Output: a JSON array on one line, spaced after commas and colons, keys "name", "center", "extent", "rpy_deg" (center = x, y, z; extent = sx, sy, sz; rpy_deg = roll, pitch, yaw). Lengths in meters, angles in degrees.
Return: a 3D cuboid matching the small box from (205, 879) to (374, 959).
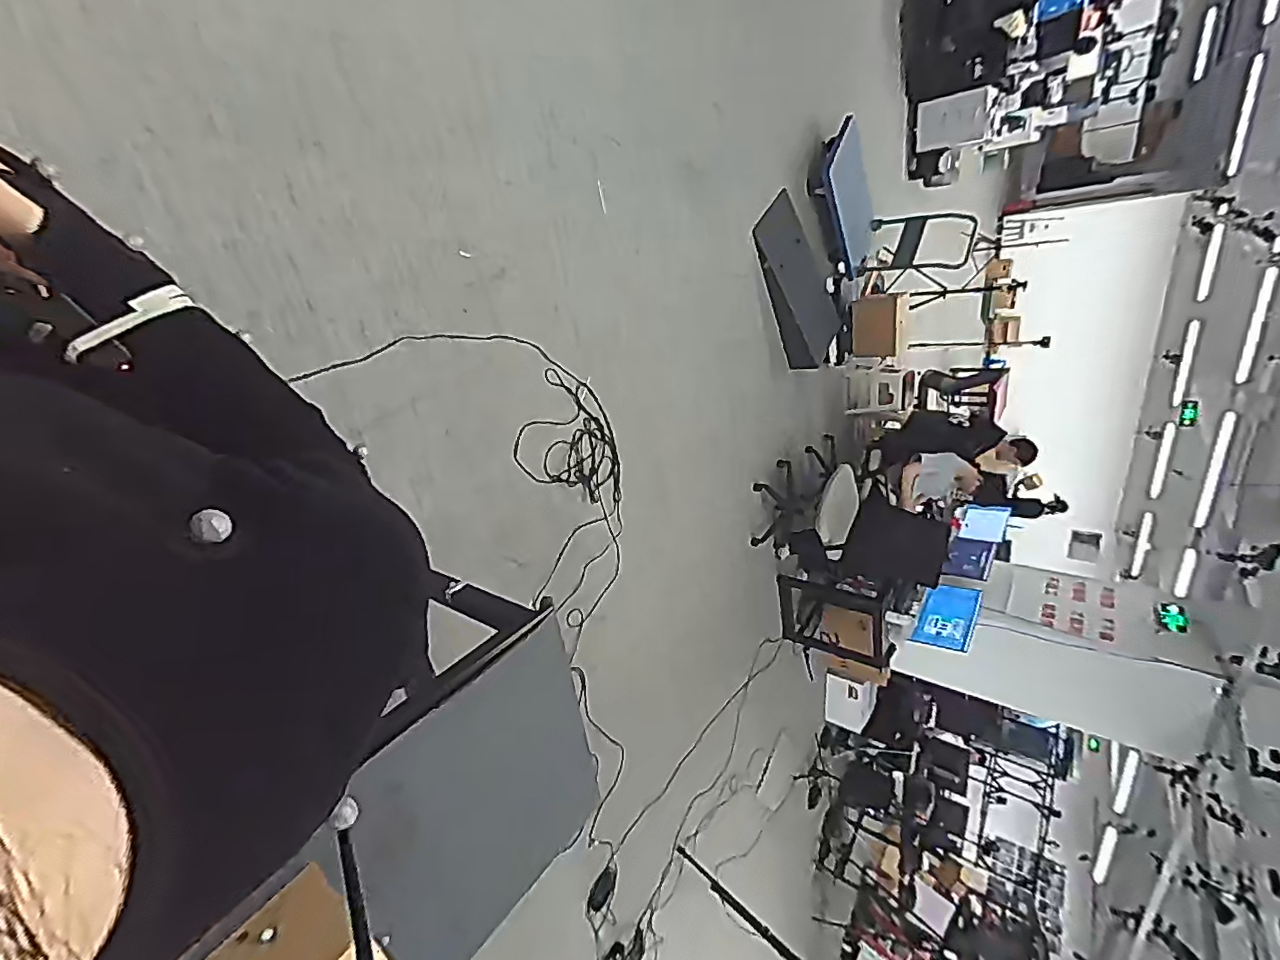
[{"name": "small box", "center": [-0.461, 0.693, 0.726], "extent": [0.168, 0.176, 0.179], "rpy_deg": [-37, 126, -44]}]
